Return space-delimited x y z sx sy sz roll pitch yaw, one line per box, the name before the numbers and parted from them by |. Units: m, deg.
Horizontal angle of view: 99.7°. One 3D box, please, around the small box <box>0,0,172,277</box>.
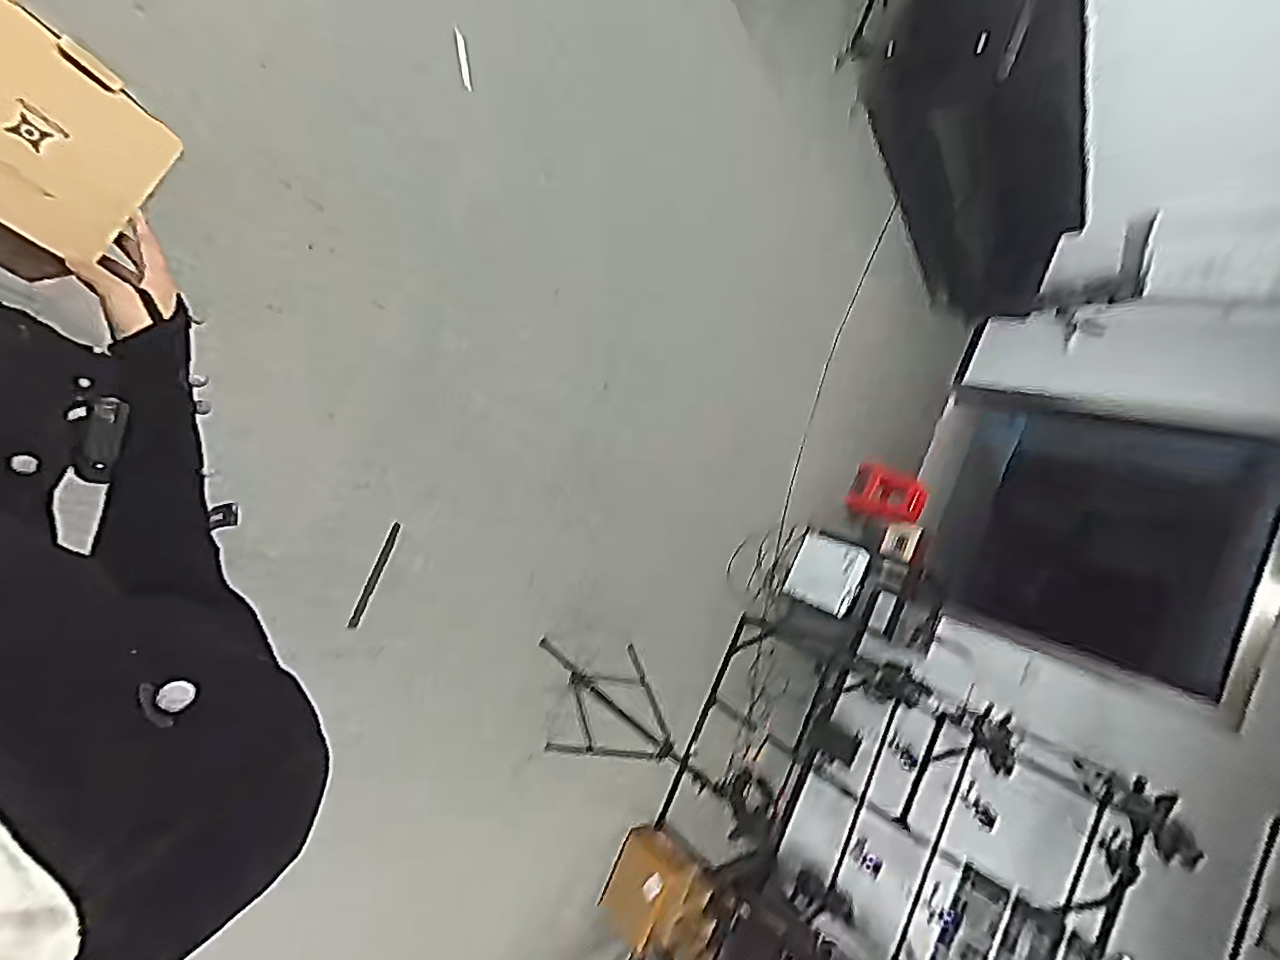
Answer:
small box | -0.601 -0.314 0.497 0.168 0.176 0.179 43 58 -55
